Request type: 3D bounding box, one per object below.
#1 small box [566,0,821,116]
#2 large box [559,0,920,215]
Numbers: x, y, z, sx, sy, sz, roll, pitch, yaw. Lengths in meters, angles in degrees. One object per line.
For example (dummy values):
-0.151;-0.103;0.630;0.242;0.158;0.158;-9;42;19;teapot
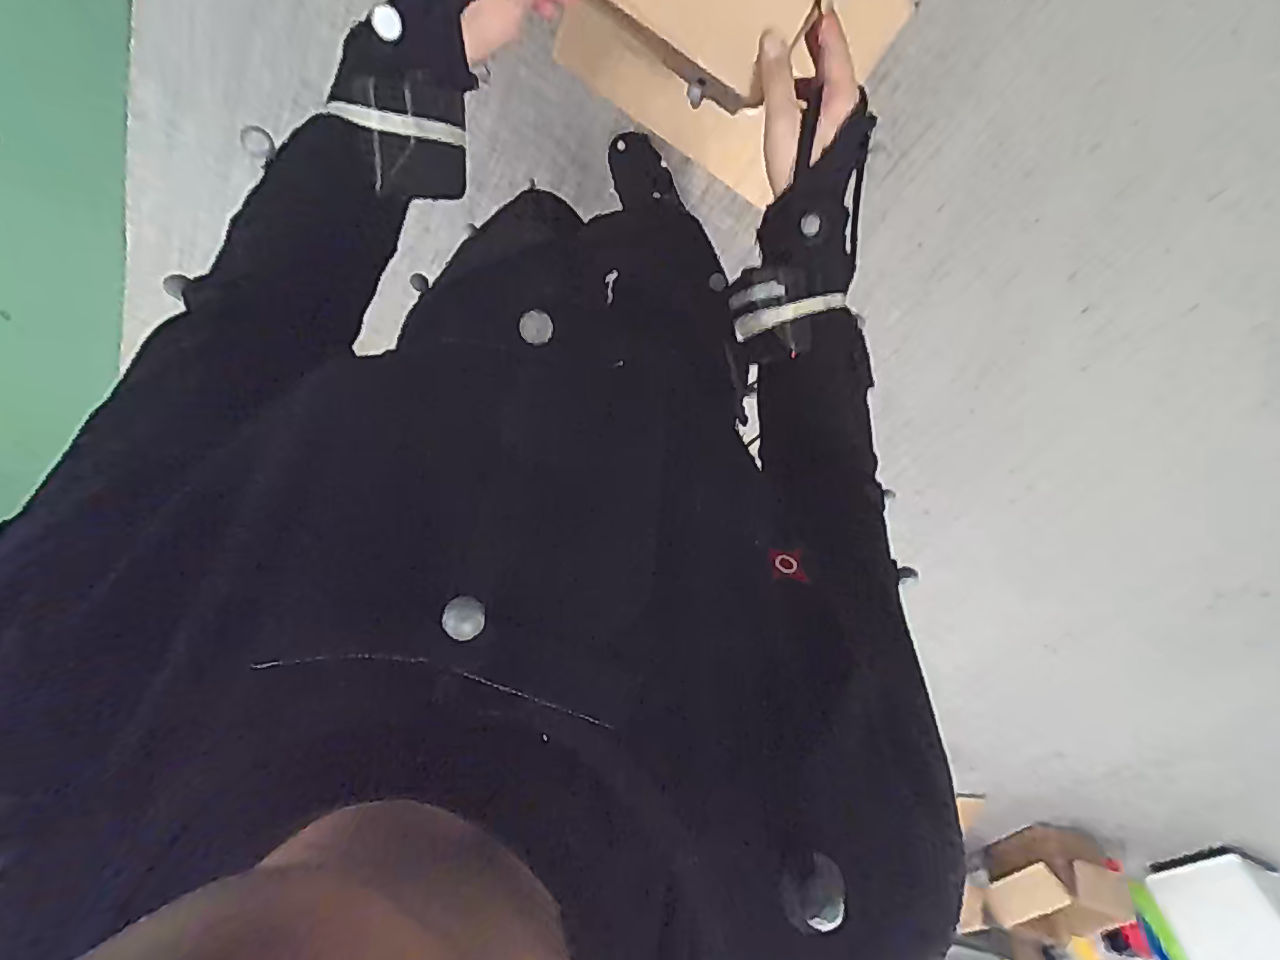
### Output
0.047;-0.390;0.380;0.179;0.176;0.168;26;119;-13;small box
0.135;-0.701;0.865;0.408;0.320;0.320;27;124;-14;large box
